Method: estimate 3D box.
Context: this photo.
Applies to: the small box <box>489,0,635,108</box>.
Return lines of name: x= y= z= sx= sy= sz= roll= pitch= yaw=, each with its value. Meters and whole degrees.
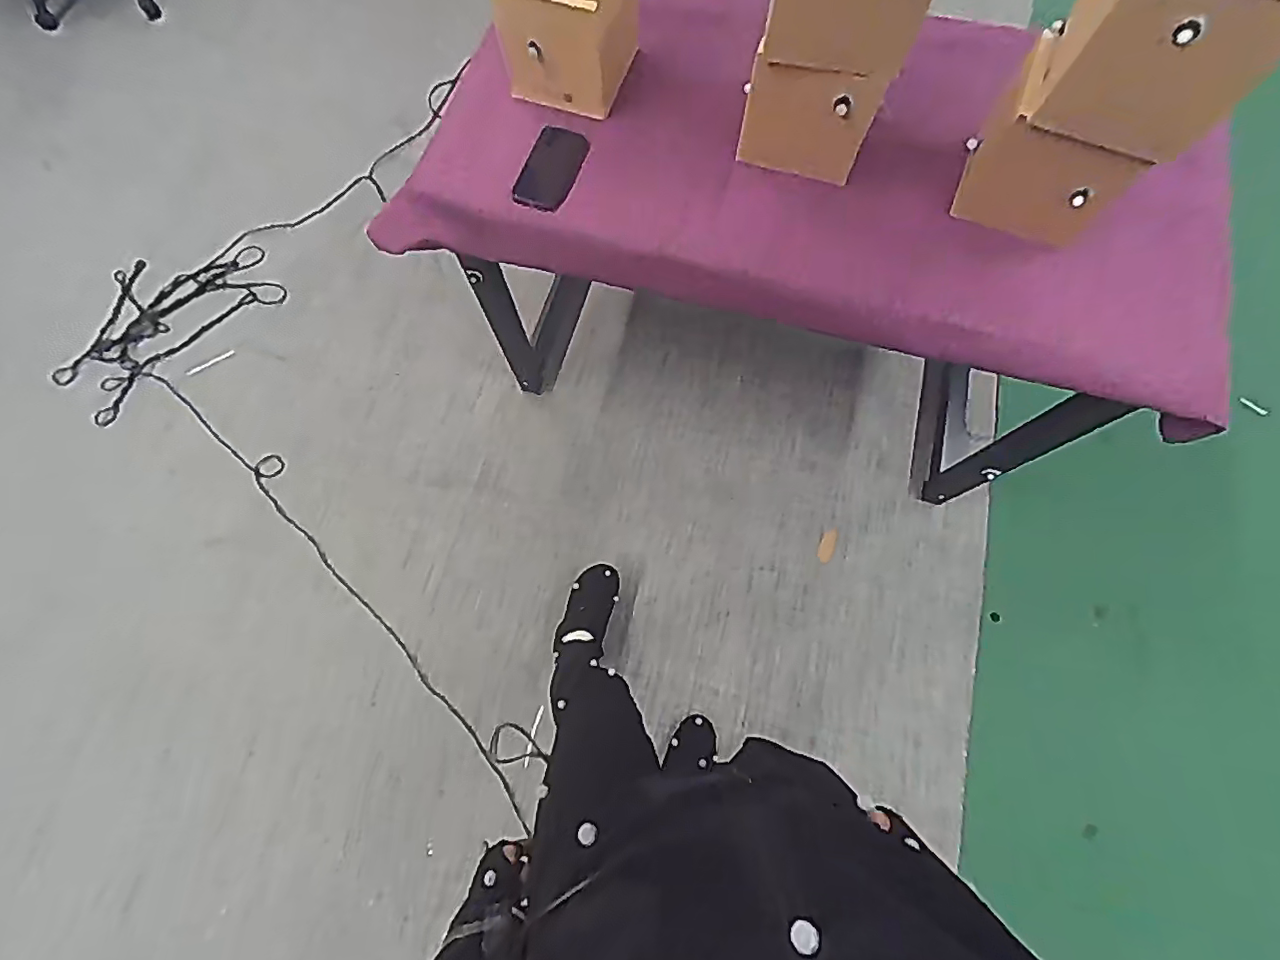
small box: x=-0.108 y=-0.717 z=0.827 sx=0.168 sy=0.176 sz=0.179 roll=17 pitch=75 yaw=6

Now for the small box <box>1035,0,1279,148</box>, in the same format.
small box: x=0.580 y=-0.505 z=0.586 sx=0.179 sy=0.176 sz=0.168 roll=23 pitch=75 yaw=6

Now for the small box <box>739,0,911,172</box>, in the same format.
small box: x=0.258 y=-0.586 z=0.783 sx=0.179 sy=0.176 sz=0.168 roll=17 pitch=75 yaw=6

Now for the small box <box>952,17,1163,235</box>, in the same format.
small box: x=0.578 y=-0.475 z=0.748 sx=0.179 sy=0.176 sz=0.168 roll=23 pitch=75 yaw=8
